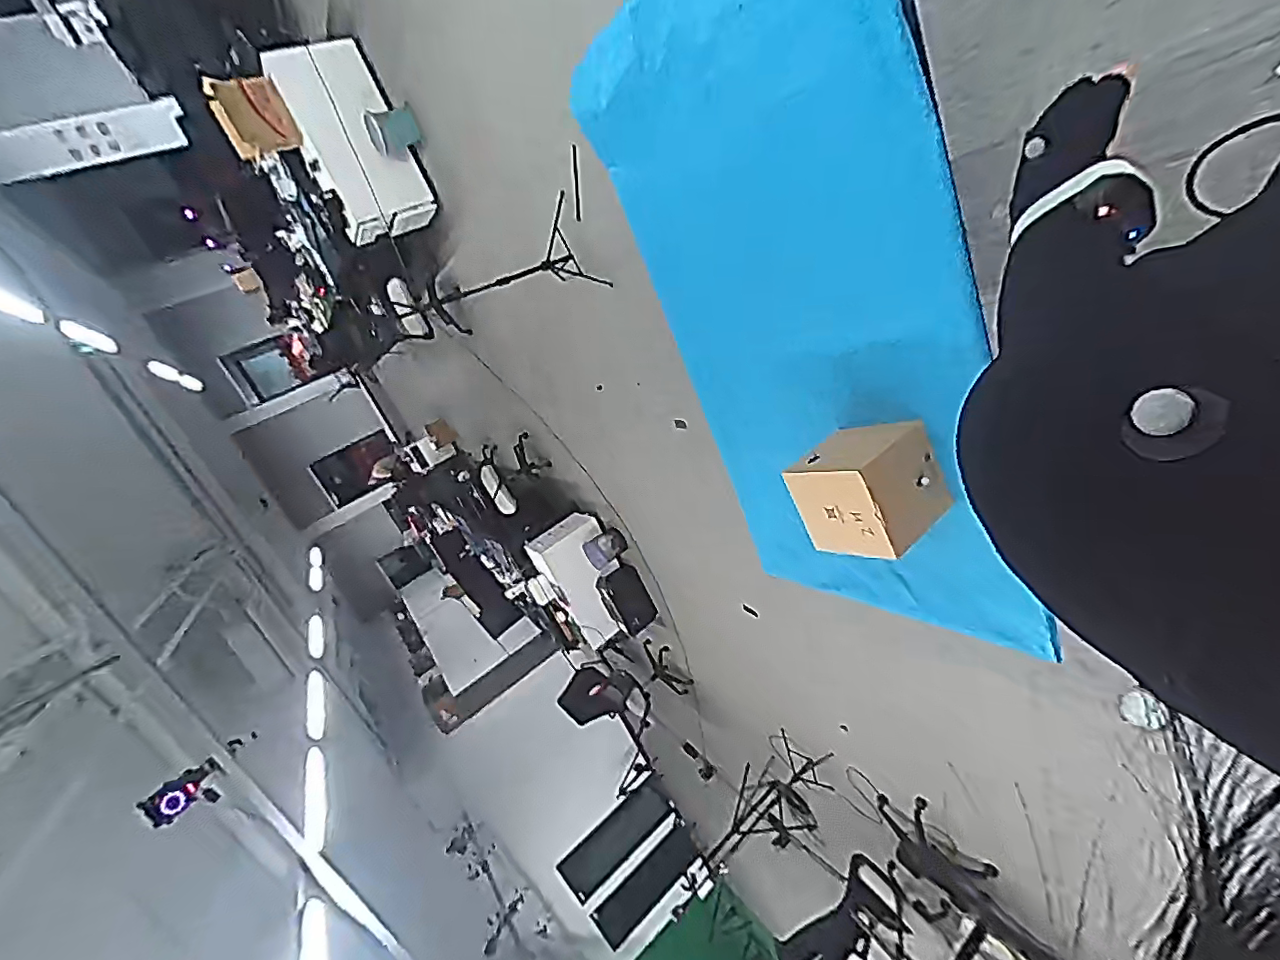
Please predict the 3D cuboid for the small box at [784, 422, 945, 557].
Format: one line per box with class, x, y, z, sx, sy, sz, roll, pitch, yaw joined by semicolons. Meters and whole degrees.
small box;0.391;0.010;0.945;0.179;0.176;0.168;3;124;59
